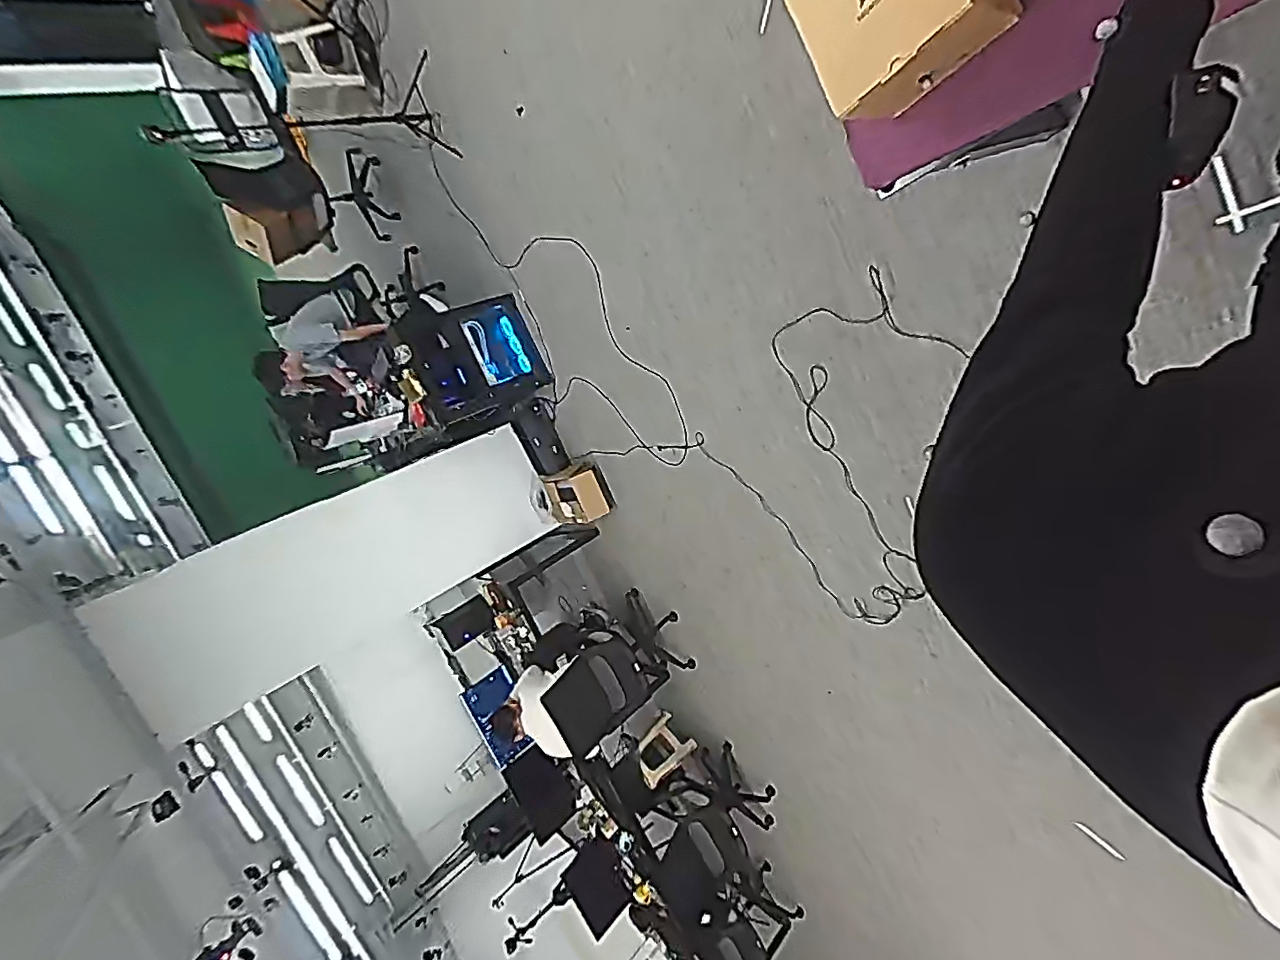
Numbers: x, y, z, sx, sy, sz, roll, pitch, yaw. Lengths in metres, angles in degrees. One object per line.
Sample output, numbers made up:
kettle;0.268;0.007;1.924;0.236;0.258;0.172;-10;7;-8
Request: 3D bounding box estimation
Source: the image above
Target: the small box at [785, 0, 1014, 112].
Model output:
small box;0.305;-0.578;0.644;0.168;0.176;0.179;-19;100;55
